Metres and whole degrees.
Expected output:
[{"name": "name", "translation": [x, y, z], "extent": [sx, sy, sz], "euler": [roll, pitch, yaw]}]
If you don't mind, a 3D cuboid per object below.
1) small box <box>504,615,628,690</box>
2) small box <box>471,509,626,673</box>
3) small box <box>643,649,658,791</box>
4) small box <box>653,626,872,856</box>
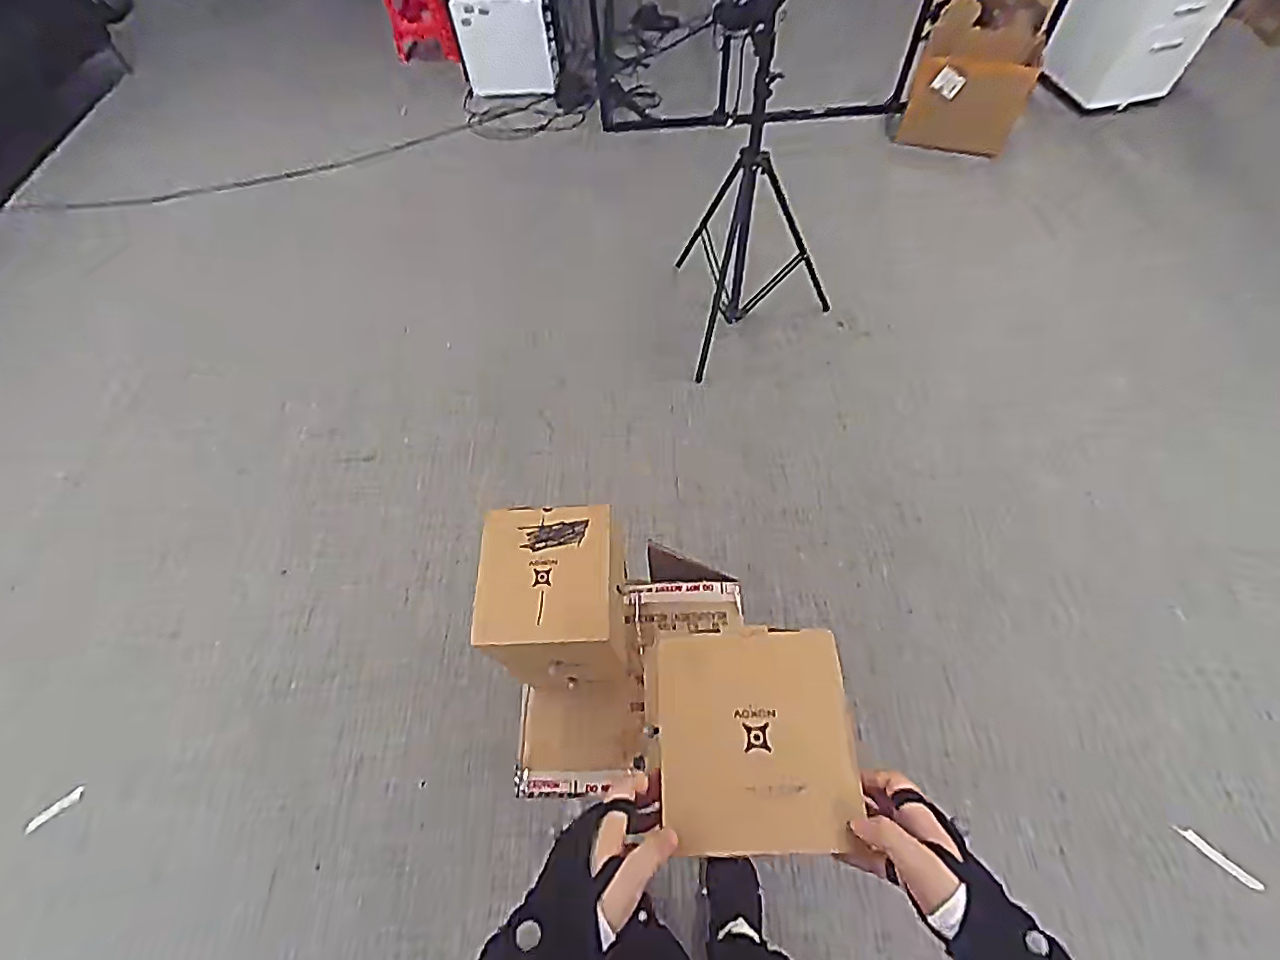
[{"name": "small box", "translation": [-0.112, 0.230, 0.874], "extent": [0.168, 0.176, 0.179], "euler": [-6, 62, 2]}, {"name": "small box", "translation": [-0.110, 0.154, 0.728], "extent": [0.168, 0.176, 0.179], "euler": [-3, 62, 4]}, {"name": "small box", "translation": [0.091, 0.351, 0.792], "extent": [0.168, 0.176, 0.179], "euler": [-2, 62, 2]}, {"name": "small box", "translation": [0.099, 0.252, 0.532], "extent": [0.168, 0.176, 0.179], "euler": [-2, 63, 0]}]
